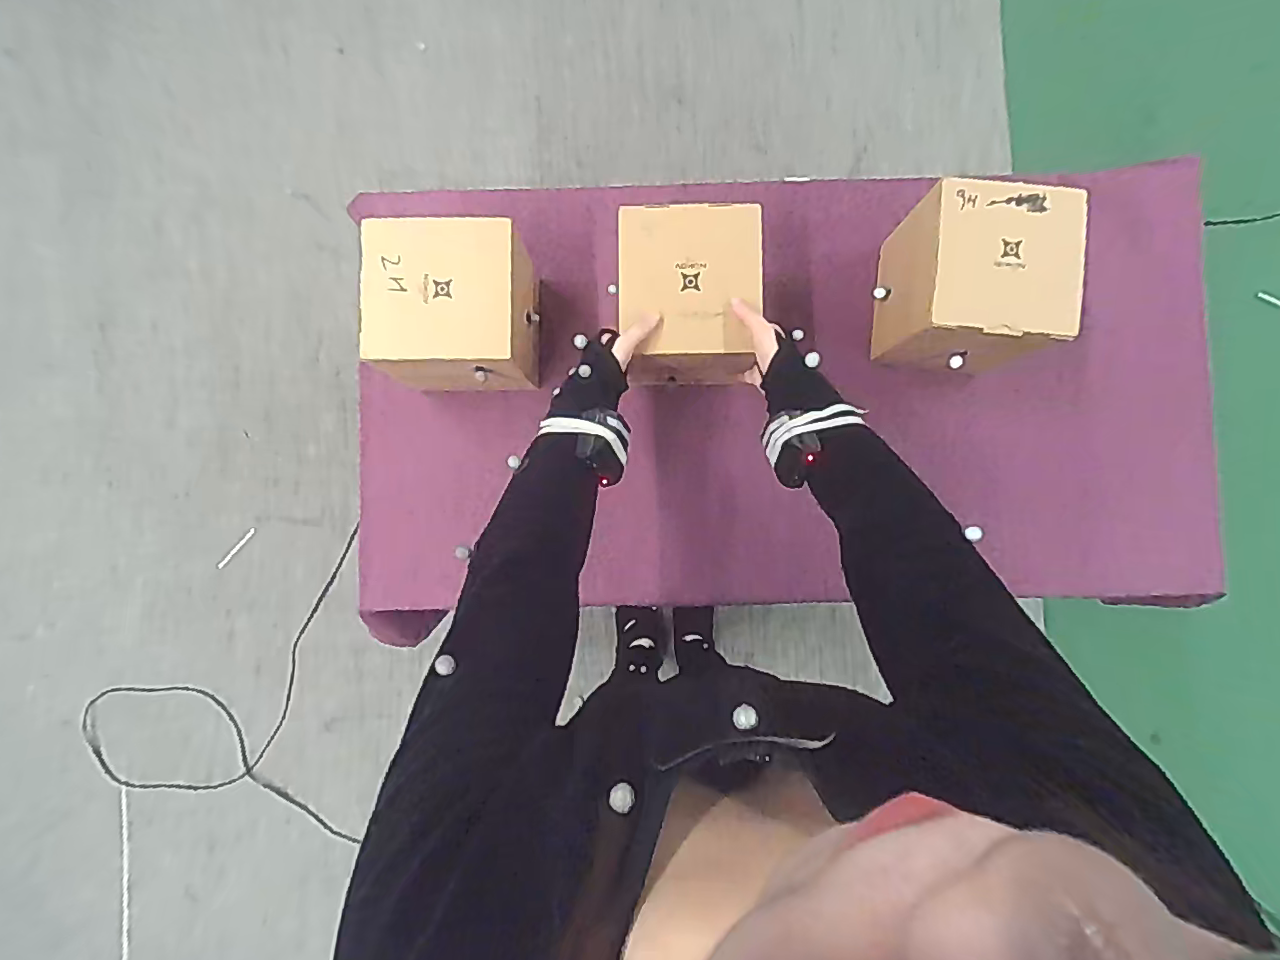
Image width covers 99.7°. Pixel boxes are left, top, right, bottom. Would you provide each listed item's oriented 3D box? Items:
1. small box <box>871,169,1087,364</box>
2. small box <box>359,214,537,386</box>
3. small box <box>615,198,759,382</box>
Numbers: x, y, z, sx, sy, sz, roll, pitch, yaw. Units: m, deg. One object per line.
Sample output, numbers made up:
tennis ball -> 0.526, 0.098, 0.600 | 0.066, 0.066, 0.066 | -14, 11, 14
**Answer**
small box -> 0.410, -0.254, 0.685 | 0.168, 0.176, 0.179 | 6, 89, 1
small box -> -0.233, -0.220, 0.697 | 0.179, 0.176, 0.168 | 0, 87, 1
small box -> 0.055, -0.232, 0.694 | 0.168, 0.176, 0.179 | 0, 88, 2
